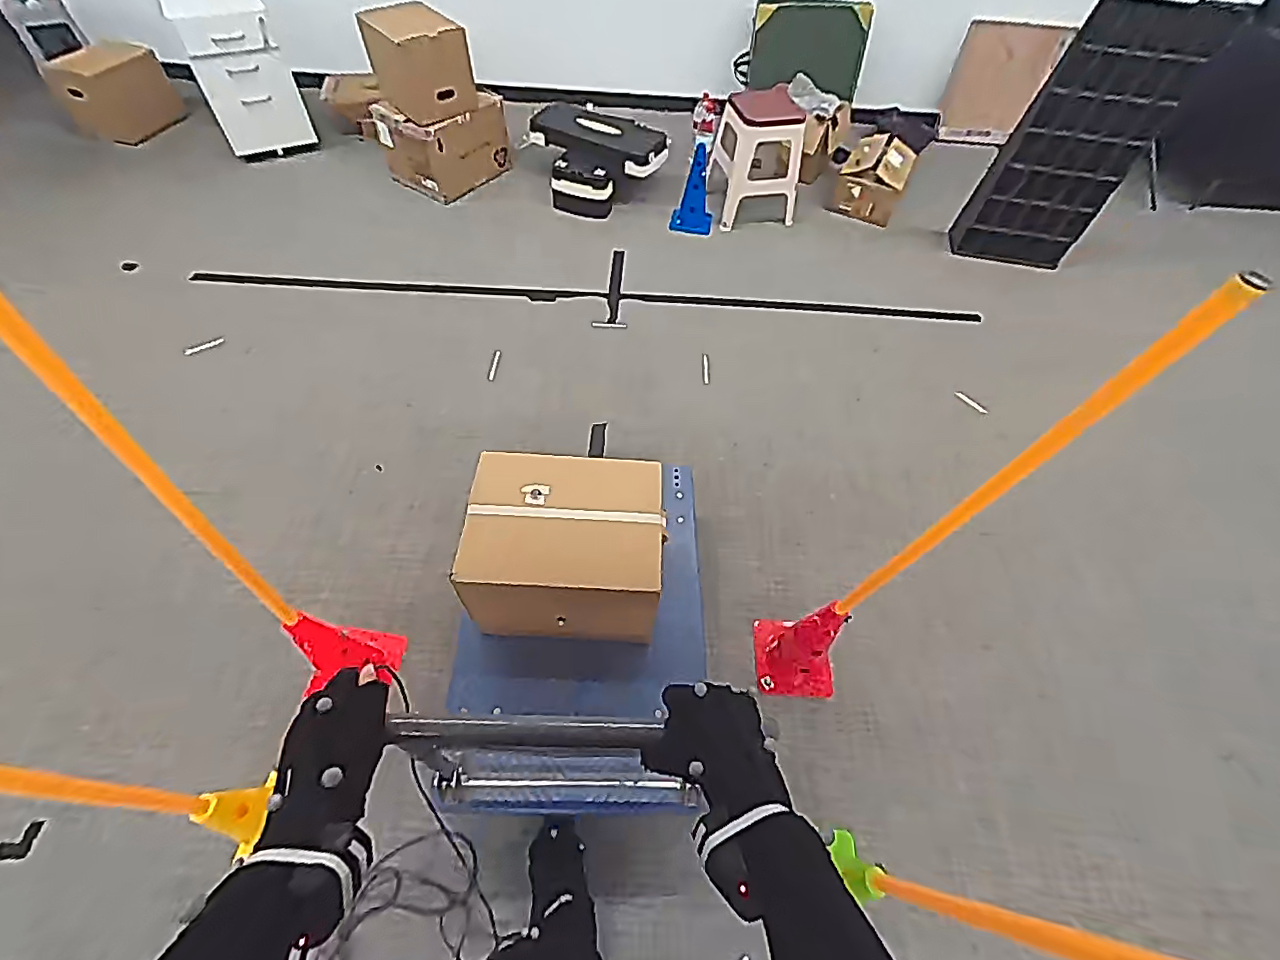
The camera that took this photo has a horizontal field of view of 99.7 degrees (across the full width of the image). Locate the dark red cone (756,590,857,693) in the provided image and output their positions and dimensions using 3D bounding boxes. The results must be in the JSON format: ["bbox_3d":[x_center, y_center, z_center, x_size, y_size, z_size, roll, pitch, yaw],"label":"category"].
[{"bbox_3d":[0.425,0.364,1.300,0.201,0.394,0.202,4,55,-2],"label":"dark red cone"}]

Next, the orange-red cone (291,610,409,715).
[{"bbox_3d":[-0.708,0.383,1.247,0.198,0.360,0.199,10,53,3],"label":"orange-red cone"}]

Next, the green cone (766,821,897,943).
[{"bbox_3d":[0.386,0.768,1.033,0.202,0.368,0.200,7,55,0],"label":"green cone"}]

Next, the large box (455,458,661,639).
[{"bbox_3d":[-0.160,0.167,1.251,0.408,0.320,0.320,3,55,-1],"label":"large box"}]
